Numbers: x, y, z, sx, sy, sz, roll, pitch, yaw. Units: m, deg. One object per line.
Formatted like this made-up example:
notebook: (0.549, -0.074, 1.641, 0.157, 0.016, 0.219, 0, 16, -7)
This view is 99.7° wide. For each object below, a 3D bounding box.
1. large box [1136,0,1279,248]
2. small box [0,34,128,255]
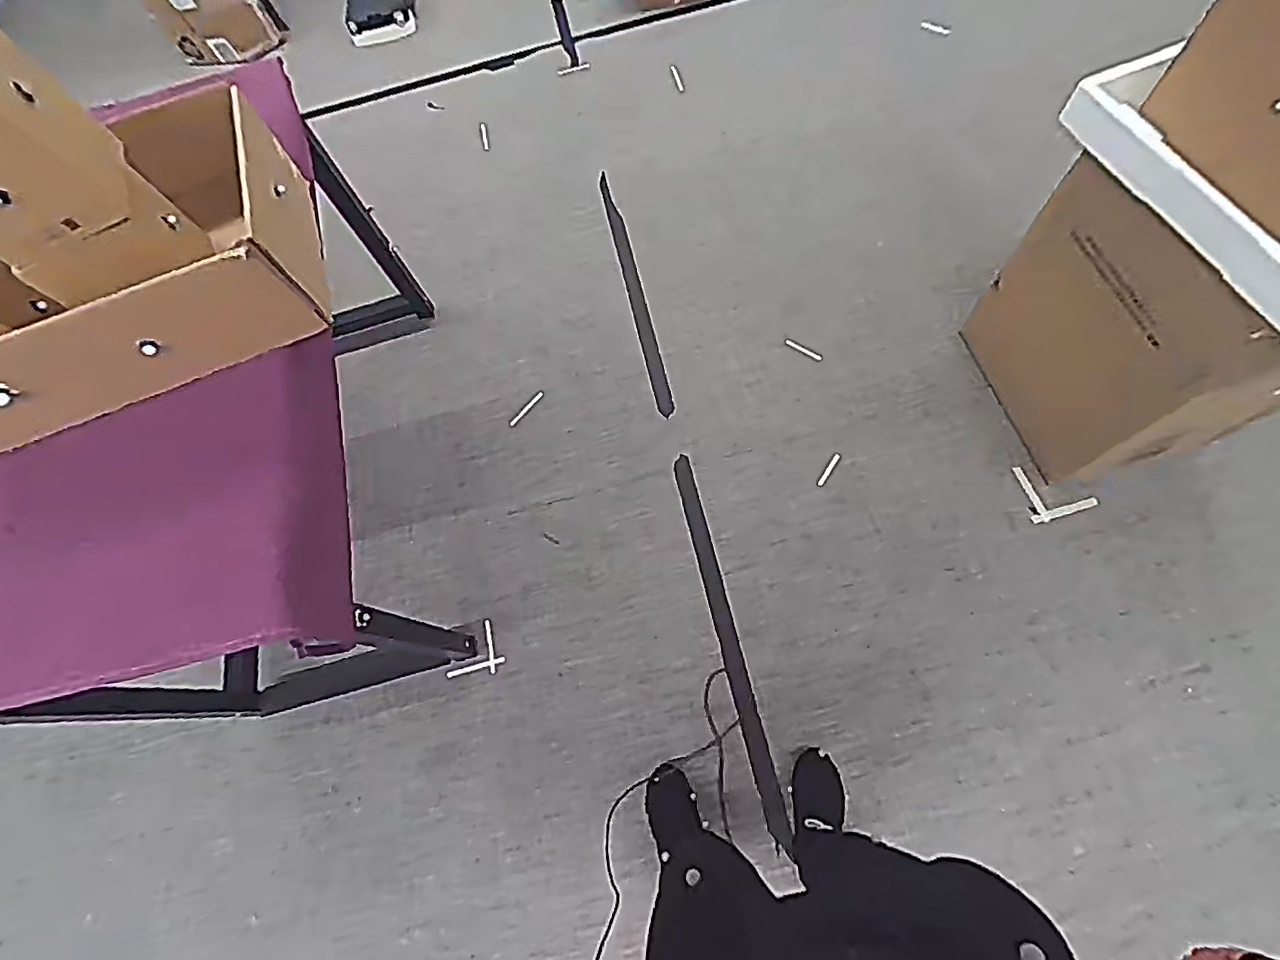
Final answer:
large box: (1.085, -0.597, 0.778, 0.320, 0.320, 0.408, -18, 65, -1)
small box: (-0.800, -0.415, 0.681, 0.168, 0.176, 0.179, -26, 66, -2)
